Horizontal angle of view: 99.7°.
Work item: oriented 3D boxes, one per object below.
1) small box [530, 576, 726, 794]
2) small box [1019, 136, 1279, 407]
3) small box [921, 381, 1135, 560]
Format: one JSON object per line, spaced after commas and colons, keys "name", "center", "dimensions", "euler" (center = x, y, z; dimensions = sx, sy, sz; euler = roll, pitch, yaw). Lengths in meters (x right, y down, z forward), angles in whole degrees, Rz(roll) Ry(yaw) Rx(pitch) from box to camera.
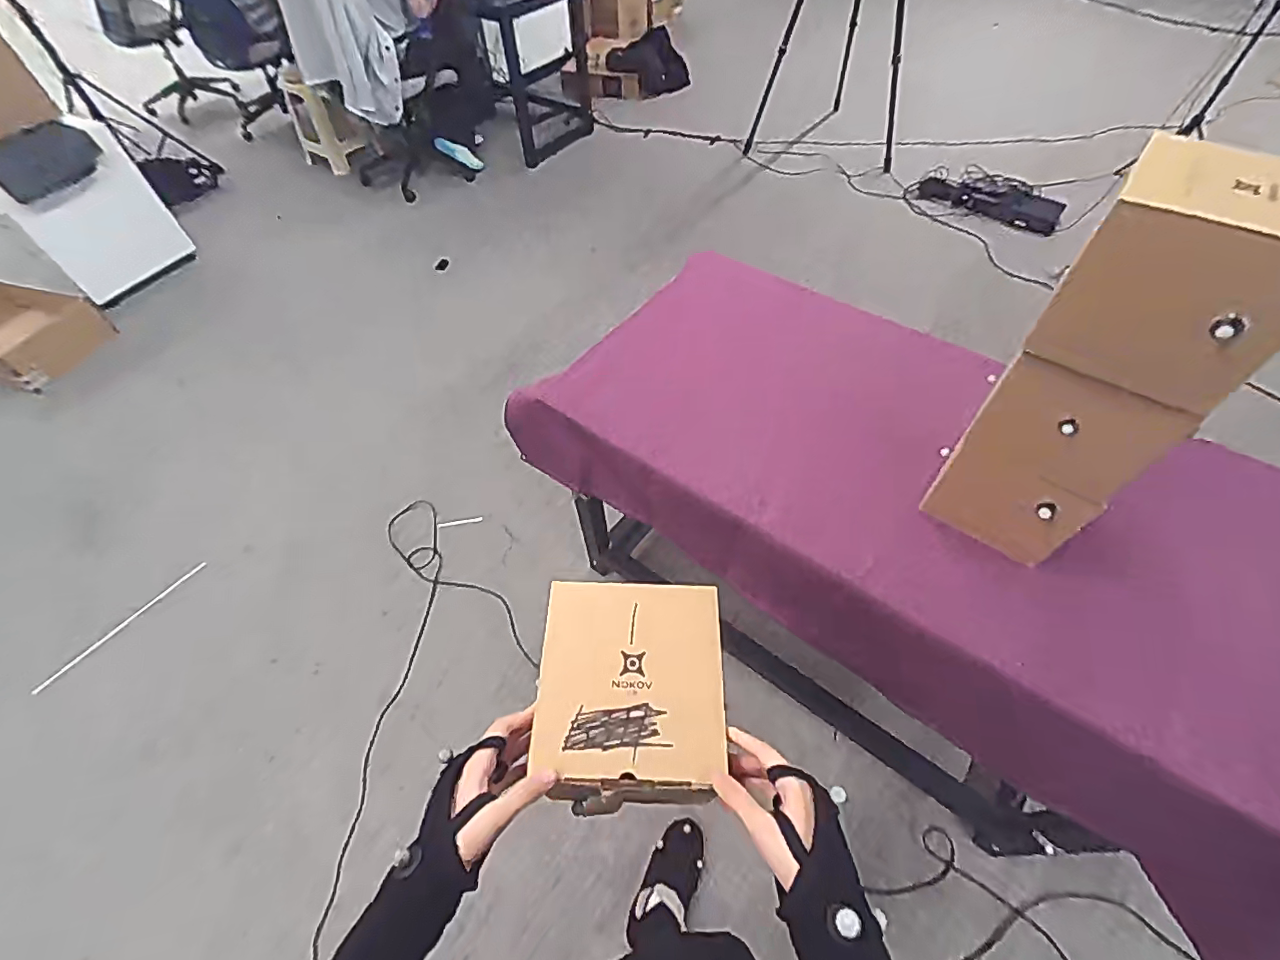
{"name": "small box", "center": [-0.008, 0.214, 0.552], "dimensions": [0.168, 0.176, 0.179], "euler": [2, 55, -1]}
{"name": "small box", "center": [0.526, -0.198, 0.530], "dimensions": [0.179, 0.176, 0.168], "euler": [32, 61, 24]}
{"name": "small box", "center": [0.556, -0.007, 0.796], "dimensions": [0.179, 0.176, 0.168], "euler": [33, 61, 23]}
